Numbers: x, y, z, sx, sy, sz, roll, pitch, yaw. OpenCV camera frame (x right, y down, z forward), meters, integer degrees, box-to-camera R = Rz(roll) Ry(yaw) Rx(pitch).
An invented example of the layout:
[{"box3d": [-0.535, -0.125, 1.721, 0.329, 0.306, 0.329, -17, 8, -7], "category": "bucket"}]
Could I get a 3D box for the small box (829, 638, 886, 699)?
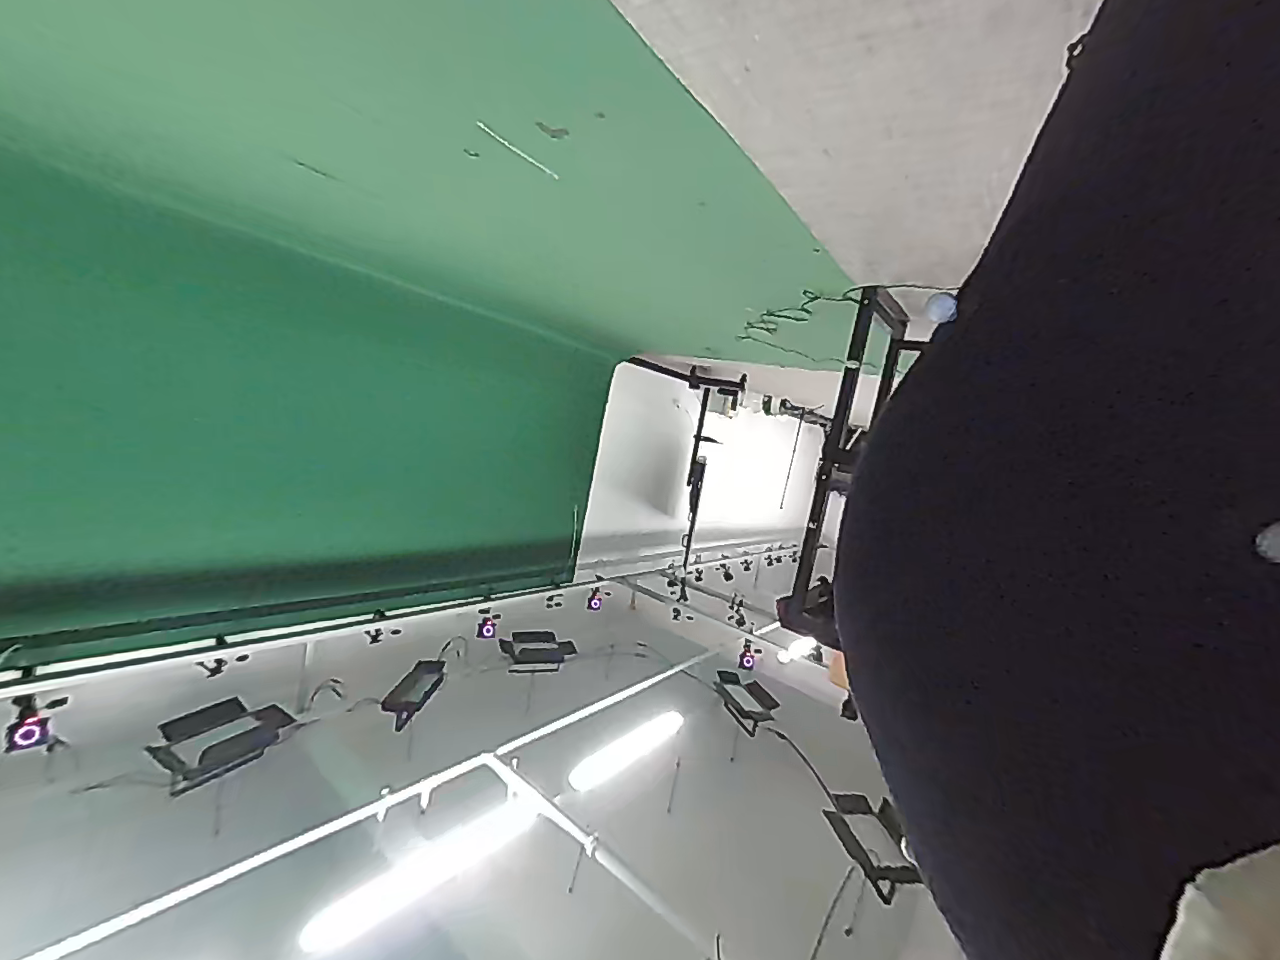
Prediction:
[{"box3d": [0.916, 0.782, 2.263, 0.179, 0.176, 0.168, 14, -174, 37], "category": "small box"}]
